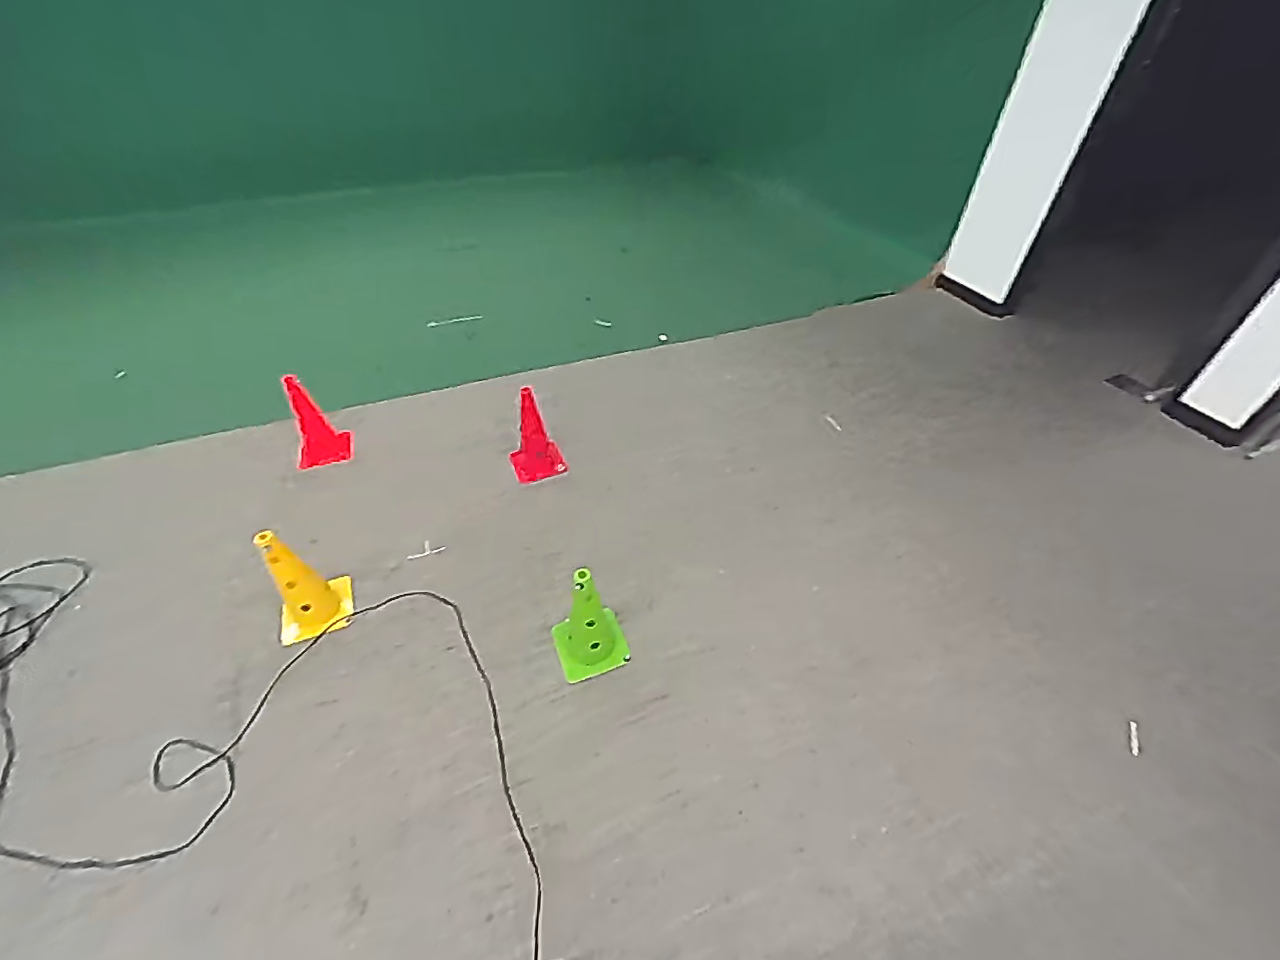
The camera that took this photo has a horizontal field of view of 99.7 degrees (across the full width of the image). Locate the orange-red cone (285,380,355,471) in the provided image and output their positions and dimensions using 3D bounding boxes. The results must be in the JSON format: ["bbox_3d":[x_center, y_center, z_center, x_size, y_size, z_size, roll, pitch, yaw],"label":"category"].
[{"bbox_3d":[-1.302,-0.239,2.143,0.198,0.360,0.199,-15,47,-13],"label":"orange-red cone"}]

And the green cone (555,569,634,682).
[{"bbox_3d":[-0.145,0.367,1.505,0.202,0.368,0.200,-17,46,-15],"label":"green cone"}]

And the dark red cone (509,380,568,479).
[{"bbox_3d":[-0.413,-0.208,2.067,0.202,0.394,0.201,-19,46,-18],"label":"dark red cone"}]
